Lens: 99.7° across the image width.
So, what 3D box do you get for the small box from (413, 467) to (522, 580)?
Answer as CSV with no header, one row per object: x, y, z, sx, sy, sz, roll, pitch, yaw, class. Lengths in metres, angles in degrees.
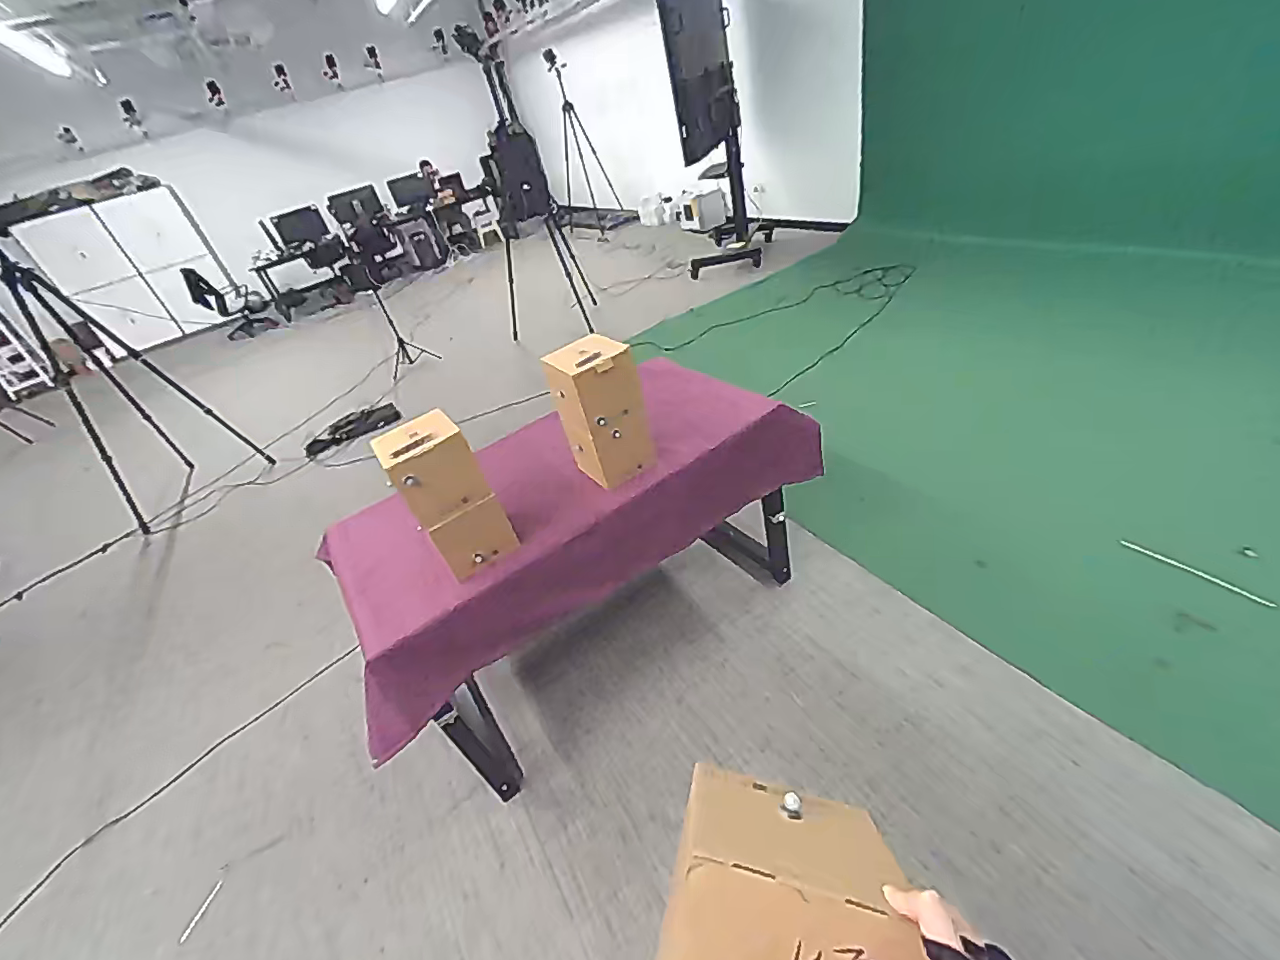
-0.407,0.102,1.280,0.168,0.176,0.179,-31,39,-19,small box

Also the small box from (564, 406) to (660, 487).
-0.072,-0.107,1.426,0.168,0.176,0.179,-33,38,-19,small box

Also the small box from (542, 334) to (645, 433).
-0.110,-0.236,1.331,0.168,0.176,0.179,-32,38,-21,small box
